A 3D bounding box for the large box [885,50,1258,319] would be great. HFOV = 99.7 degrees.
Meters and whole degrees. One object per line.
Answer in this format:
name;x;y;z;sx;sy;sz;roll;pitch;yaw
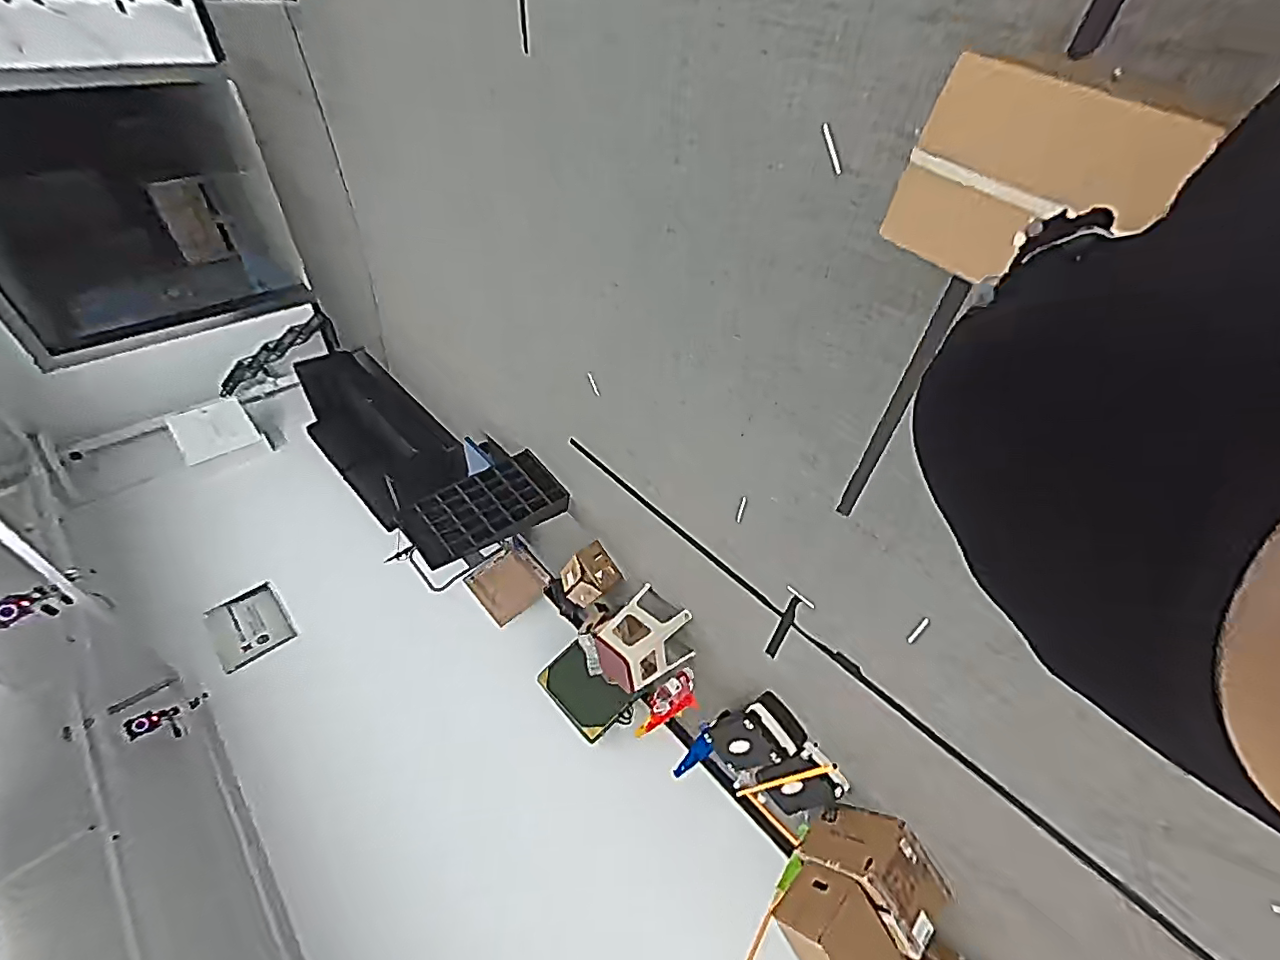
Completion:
large box;0.766;-0.565;1.006;0.408;0.320;0.320;42;145;25
